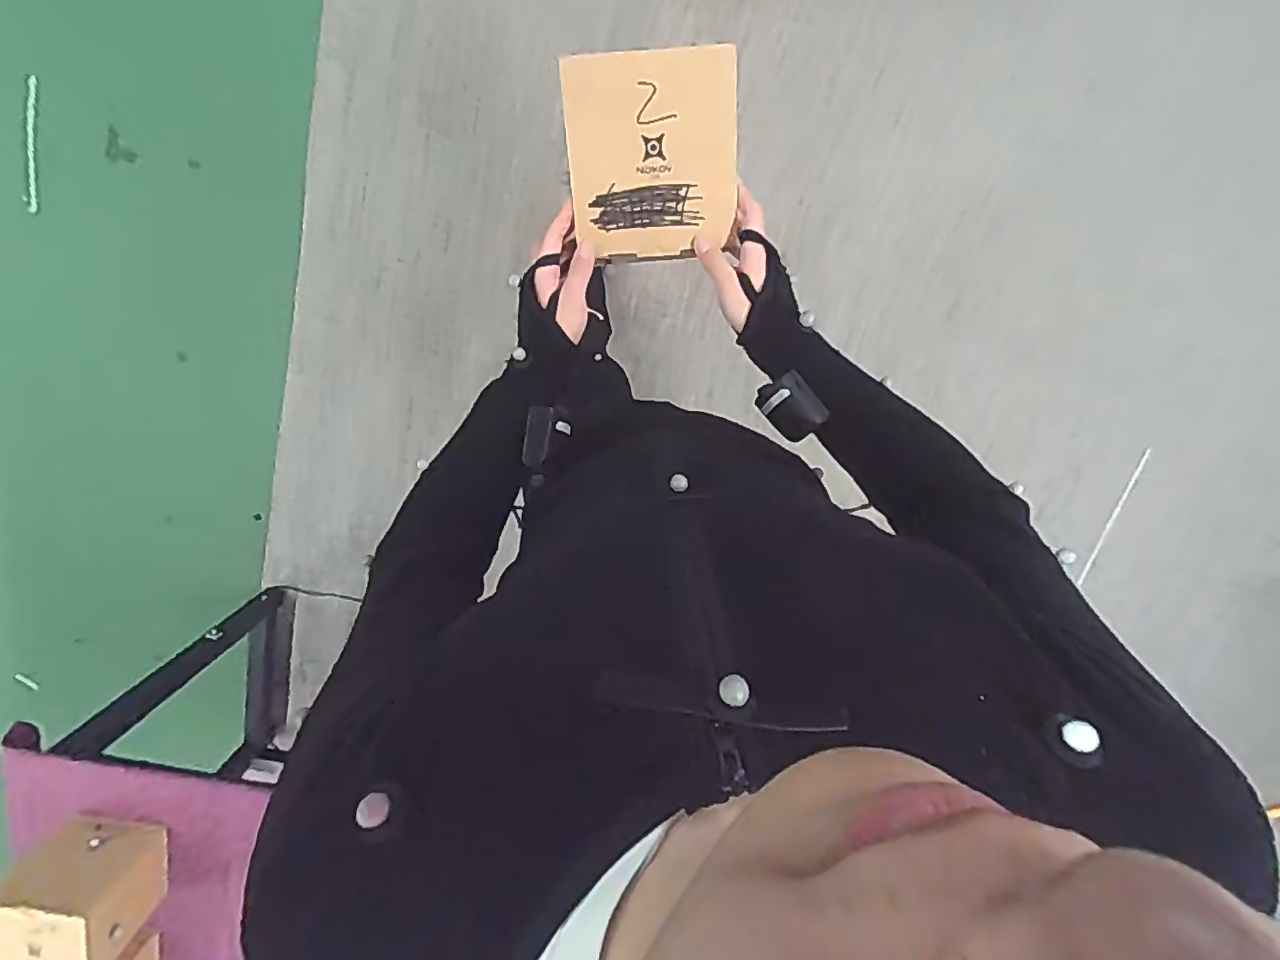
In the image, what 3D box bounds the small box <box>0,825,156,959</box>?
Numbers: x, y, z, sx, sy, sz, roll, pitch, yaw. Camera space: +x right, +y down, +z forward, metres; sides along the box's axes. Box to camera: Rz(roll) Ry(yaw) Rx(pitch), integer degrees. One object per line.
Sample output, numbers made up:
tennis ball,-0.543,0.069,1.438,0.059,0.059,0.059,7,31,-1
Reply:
small box,-0.989,0.747,0.936,0.168,0.176,0.179,13,105,-6
